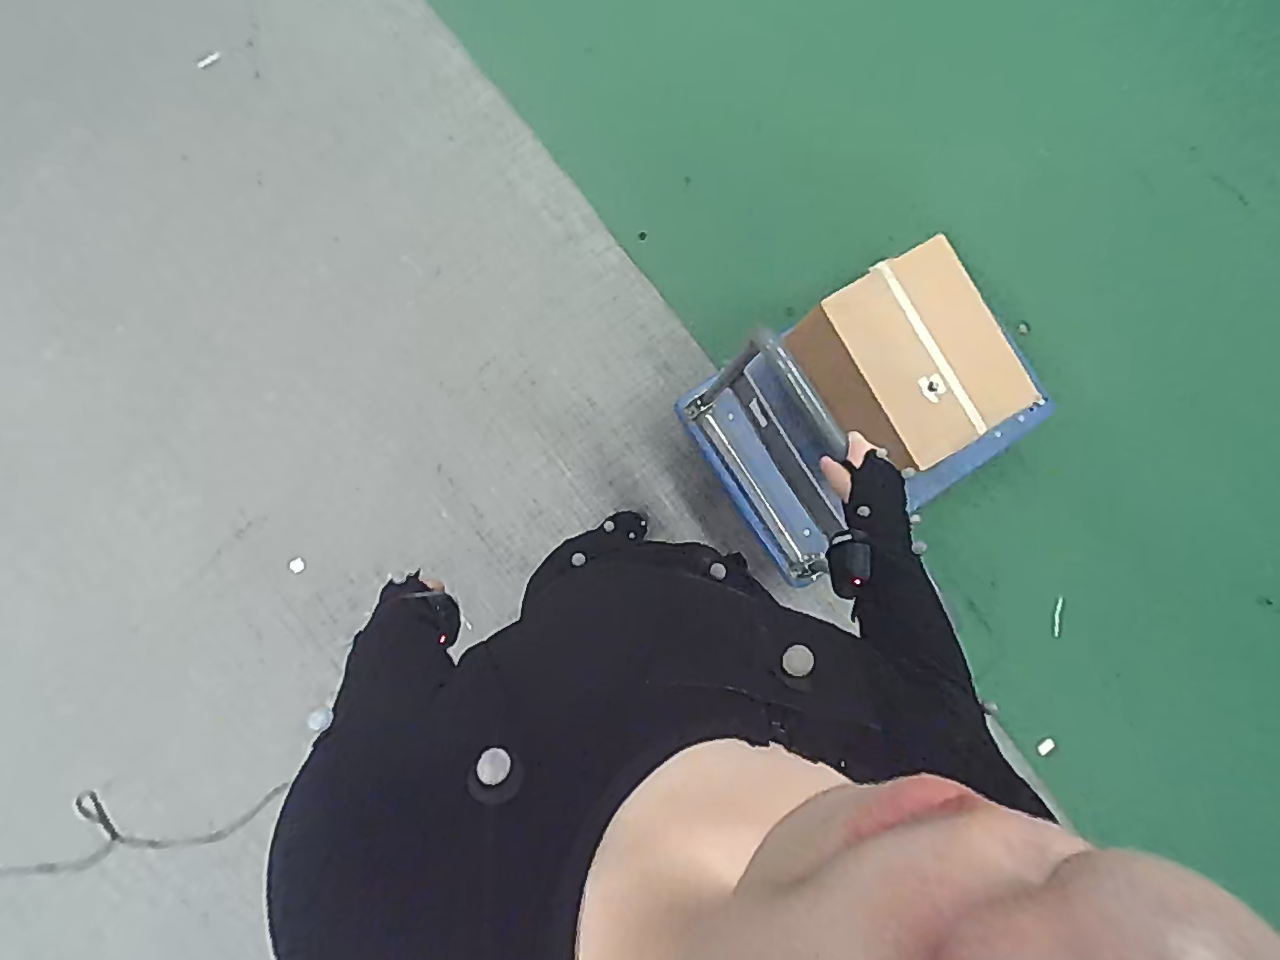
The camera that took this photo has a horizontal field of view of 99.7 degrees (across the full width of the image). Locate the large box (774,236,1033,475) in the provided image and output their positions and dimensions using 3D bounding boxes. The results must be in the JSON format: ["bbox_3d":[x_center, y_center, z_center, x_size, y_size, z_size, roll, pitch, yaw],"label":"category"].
[{"bbox_3d":[0.584,-0.265,1.270,0.320,0.320,0.408,-30,89,-5],"label":"large box"}]
